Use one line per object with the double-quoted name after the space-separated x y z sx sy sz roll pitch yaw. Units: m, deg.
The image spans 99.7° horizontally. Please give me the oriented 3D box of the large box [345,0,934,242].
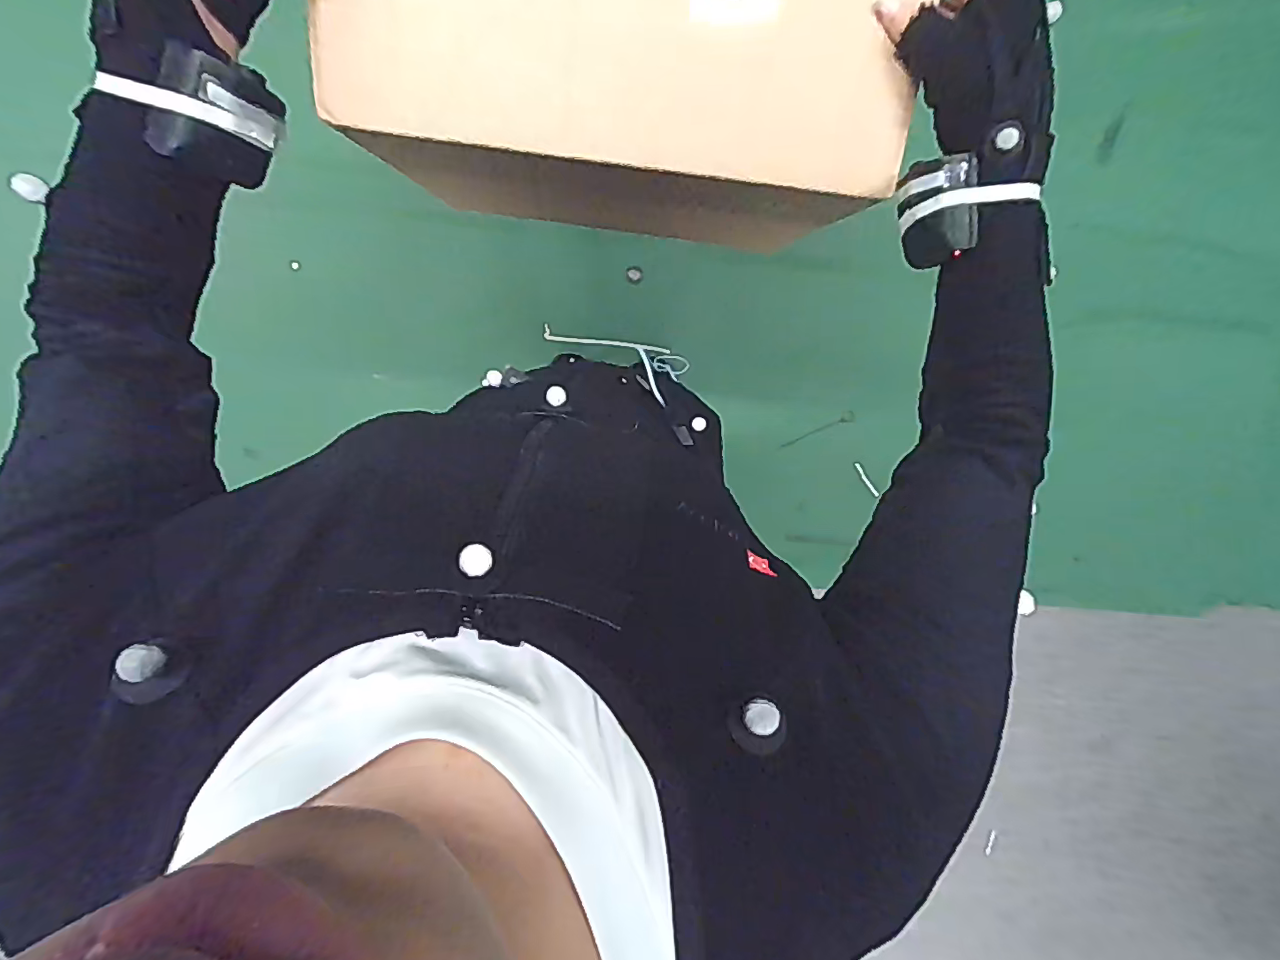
0.000 -0.420 0.491 0.408 0.320 0.320 5 107 -5 "large box"
